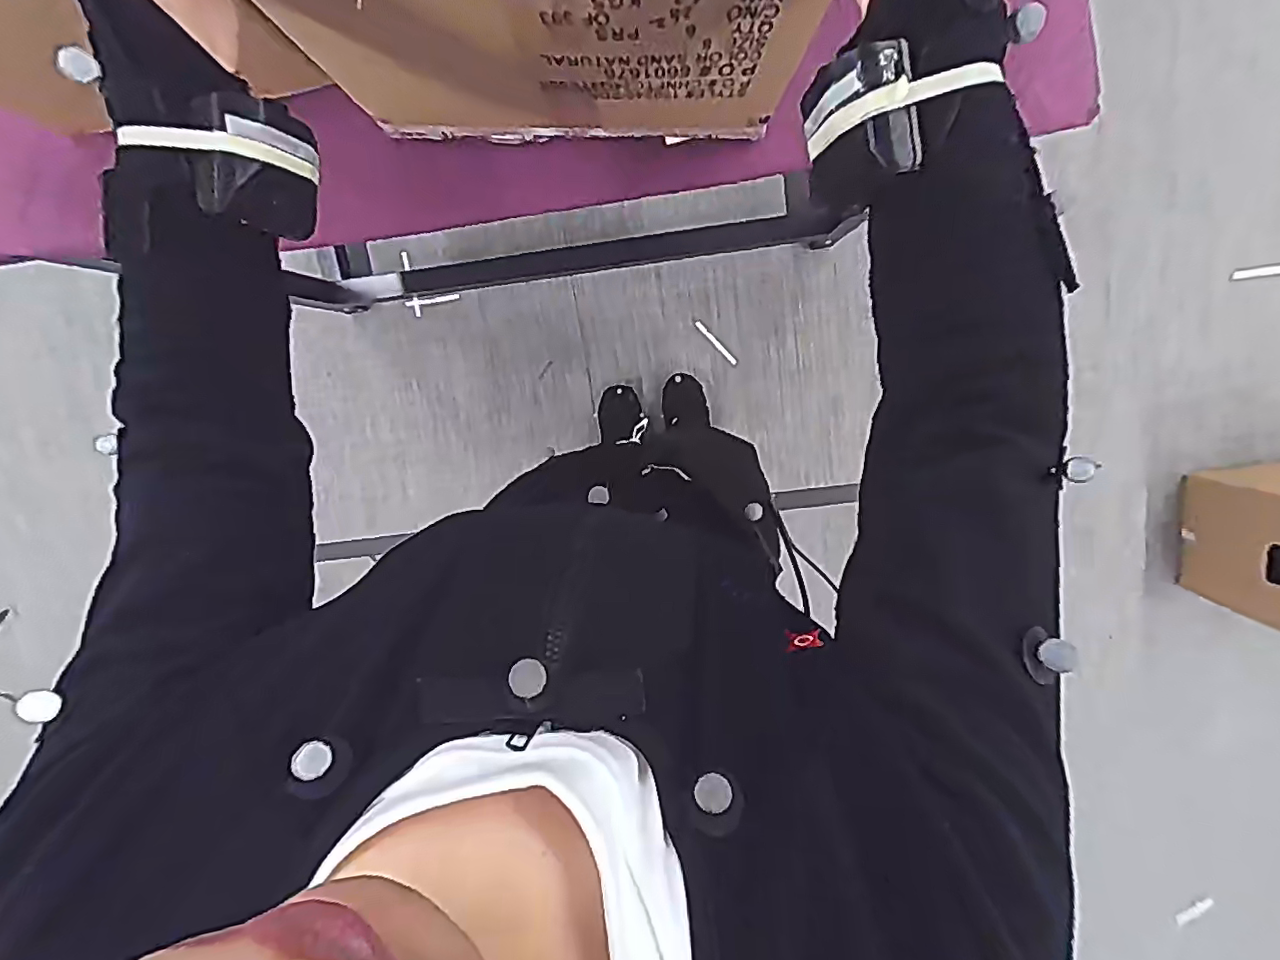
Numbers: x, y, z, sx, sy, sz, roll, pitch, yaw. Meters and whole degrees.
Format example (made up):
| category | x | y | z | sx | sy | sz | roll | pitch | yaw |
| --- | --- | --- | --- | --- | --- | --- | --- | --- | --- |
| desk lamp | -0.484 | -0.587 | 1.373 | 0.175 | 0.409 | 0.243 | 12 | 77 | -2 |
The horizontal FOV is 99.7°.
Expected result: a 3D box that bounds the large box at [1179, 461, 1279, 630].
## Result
| category | x | y | z | sx | sy | sz | roll | pitch | yaw |
| --- | --- | --- | --- | --- | --- | --- | --- | --- | --- |
| large box | 1.562 | 0.133 | 1.211 | 0.408 | 0.320 | 0.320 | -9 | 101 | 5 |
